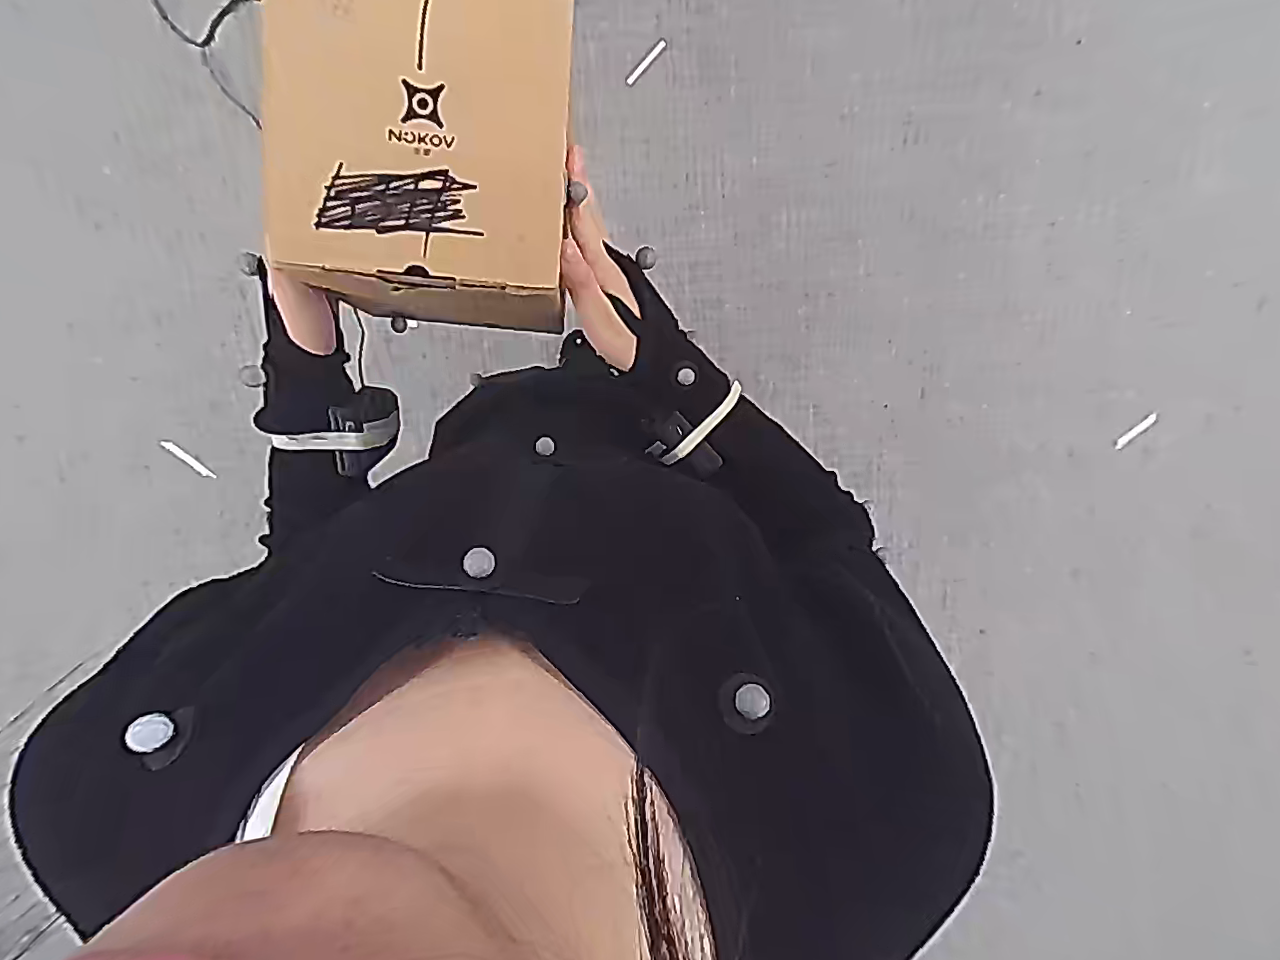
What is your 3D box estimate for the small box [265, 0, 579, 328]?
[{"bbox_3d":[-0.132,-0.215,0.386,0.168,0.176,0.179,4,95,-8],"label":"small box"}]
